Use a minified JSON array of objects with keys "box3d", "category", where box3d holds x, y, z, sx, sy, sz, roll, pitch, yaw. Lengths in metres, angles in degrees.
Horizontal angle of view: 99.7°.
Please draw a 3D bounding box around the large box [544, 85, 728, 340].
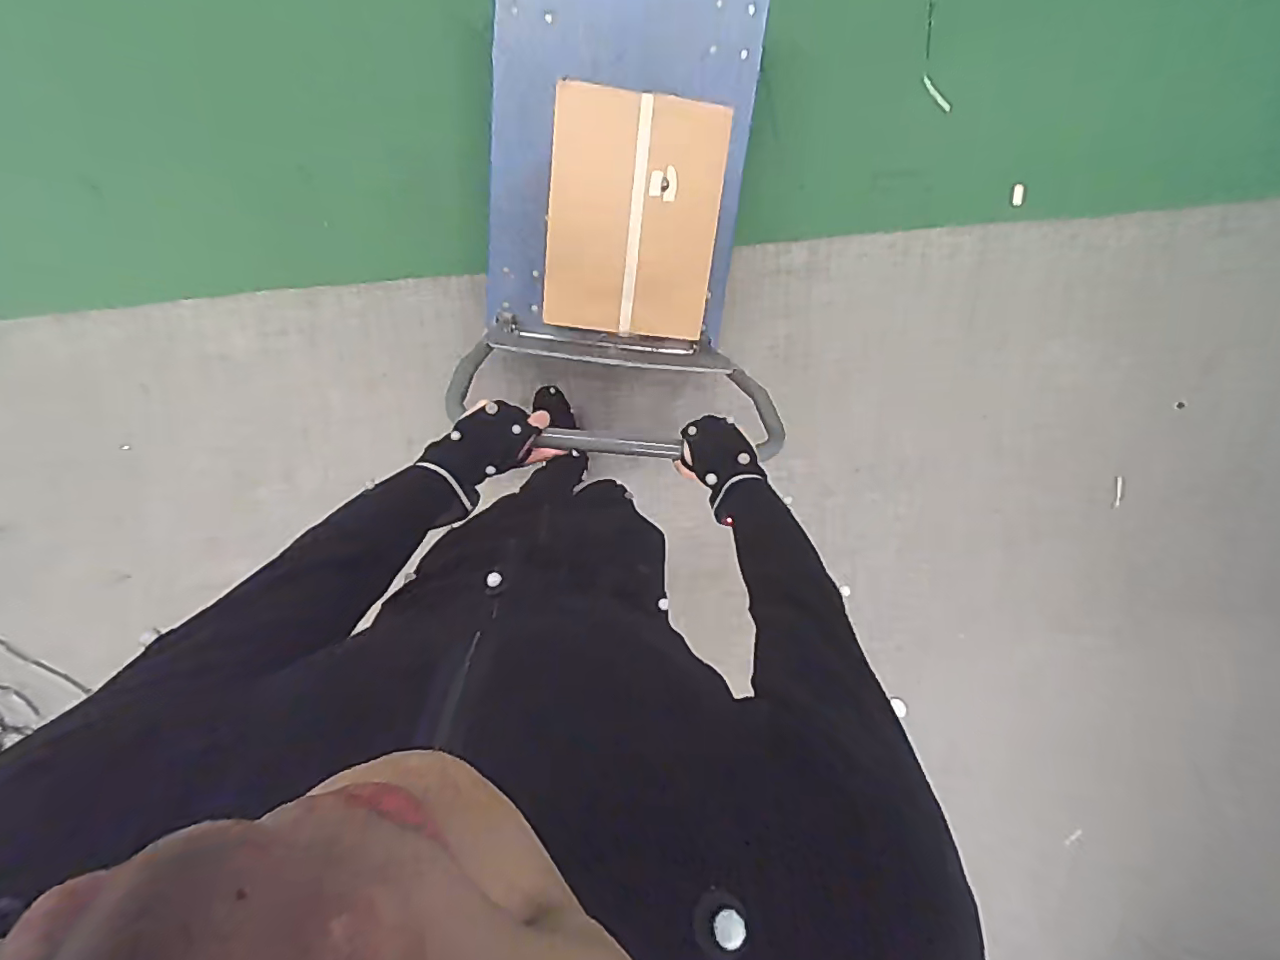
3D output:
[{"box3d":[-0.028,-0.523,1.140,0.320,0.320,0.408,4,109,-9],"category":"large box"}]
